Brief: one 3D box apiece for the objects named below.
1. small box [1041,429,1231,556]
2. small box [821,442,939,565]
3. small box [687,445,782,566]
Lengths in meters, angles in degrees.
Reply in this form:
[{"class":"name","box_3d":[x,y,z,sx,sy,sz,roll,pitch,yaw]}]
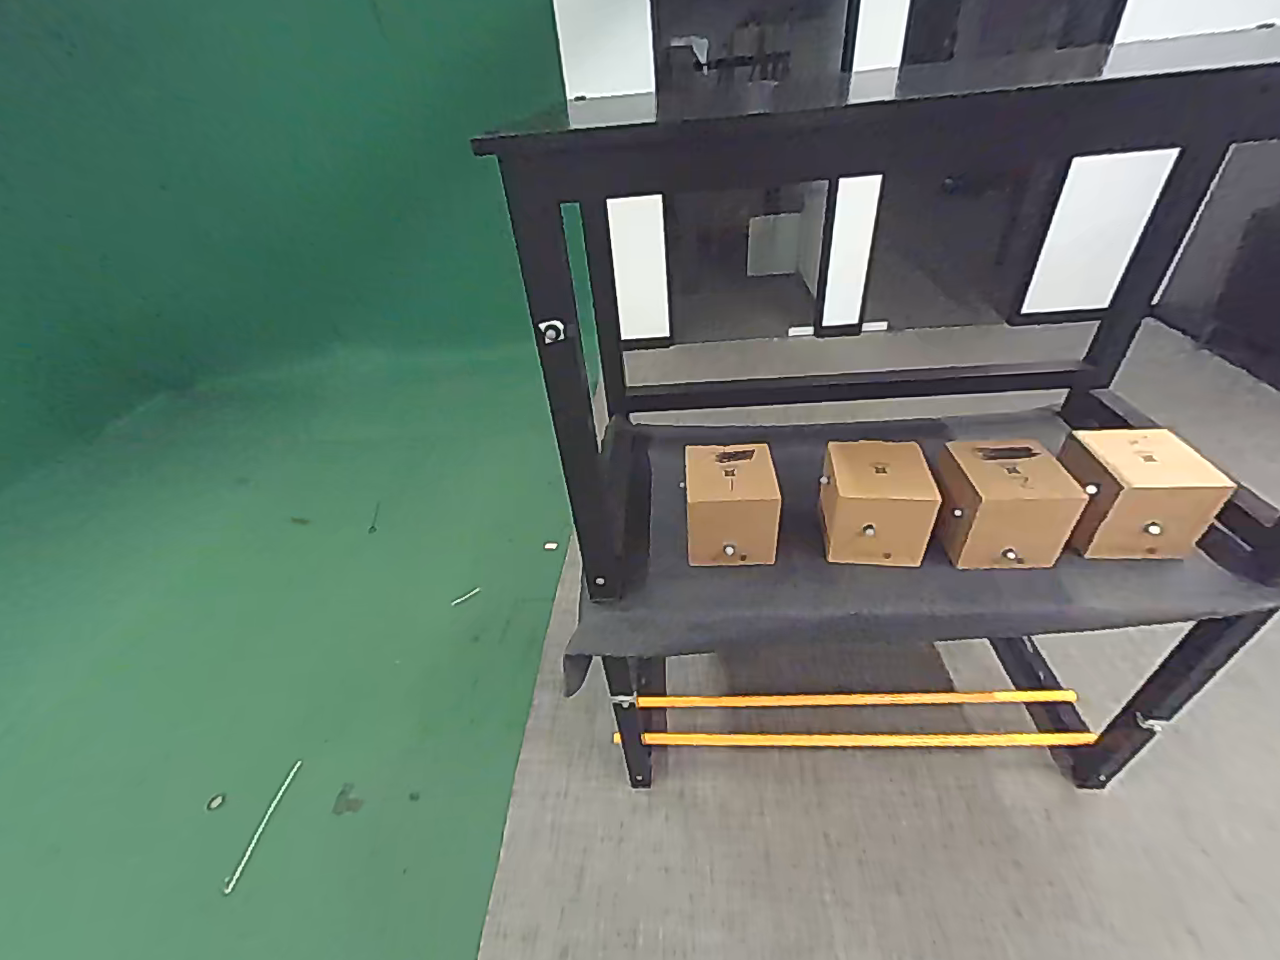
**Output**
[{"class":"small box","box_3d":[0.884,0.024,0.987,0.168,0.176,0.179,-1,37,7]},{"class":"small box","box_3d":[0.445,0.044,1.031,0.168,0.176,0.179,2,38,10]},{"class":"small box","box_3d":[0.177,0.048,1.062,0.168,0.176,0.179,-2,38,5]}]
